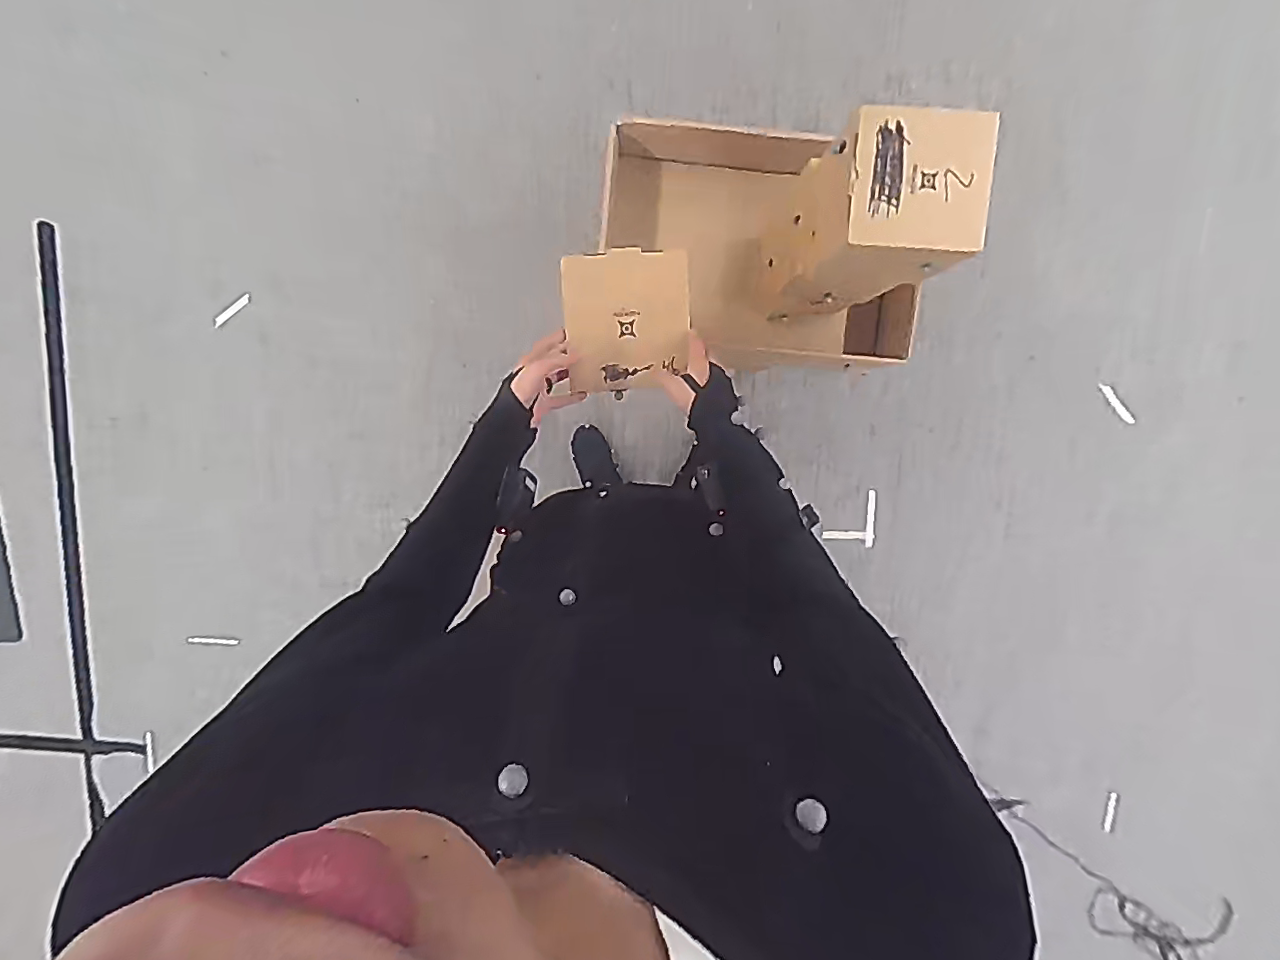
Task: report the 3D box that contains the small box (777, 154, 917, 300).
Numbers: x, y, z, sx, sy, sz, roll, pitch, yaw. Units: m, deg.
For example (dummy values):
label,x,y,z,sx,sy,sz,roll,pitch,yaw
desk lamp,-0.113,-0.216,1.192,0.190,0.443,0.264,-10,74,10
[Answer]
label,x,y,z,sx,sy,sz,roll,pitch,yaw
small box,0.335,-0.414,0.909,0.168,0.176,0.179,4,98,1

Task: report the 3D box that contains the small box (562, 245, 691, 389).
label,x,y,z,sx,sy,sz,roll,pitch,yaw
small box,-0.017,-0.225,0.785,0.168,0.176,0.179,-3,99,1
